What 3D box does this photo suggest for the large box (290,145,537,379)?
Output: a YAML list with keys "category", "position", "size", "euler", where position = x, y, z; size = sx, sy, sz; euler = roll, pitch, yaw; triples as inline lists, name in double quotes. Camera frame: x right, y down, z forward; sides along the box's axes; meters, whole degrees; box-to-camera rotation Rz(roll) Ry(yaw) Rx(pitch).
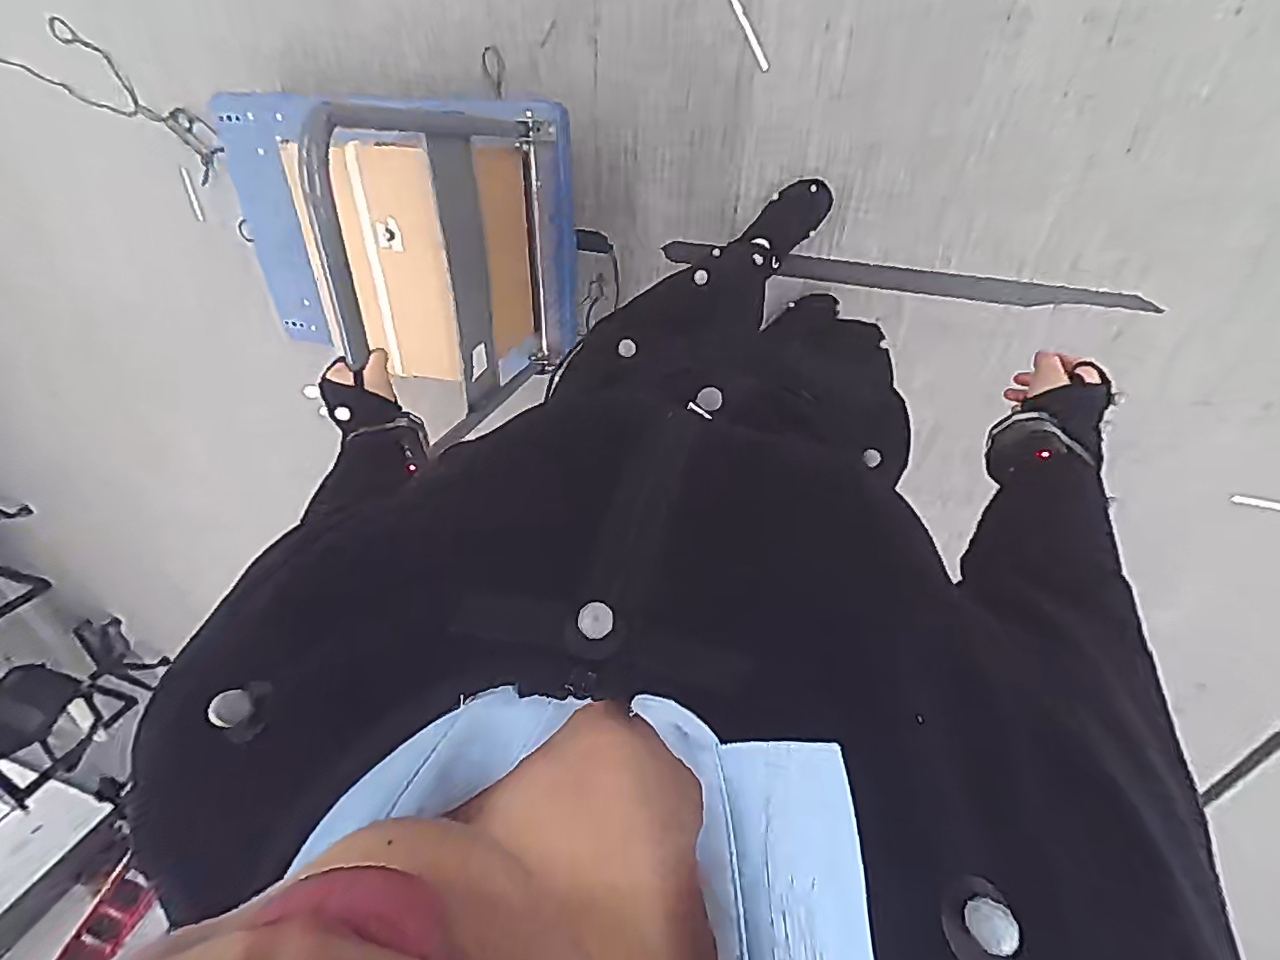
- category: "large box"
  position: [-0.435, -0.467, 1.143]
  size: [0.320, 0.320, 0.408]
  euler: [10, 122, 13]
